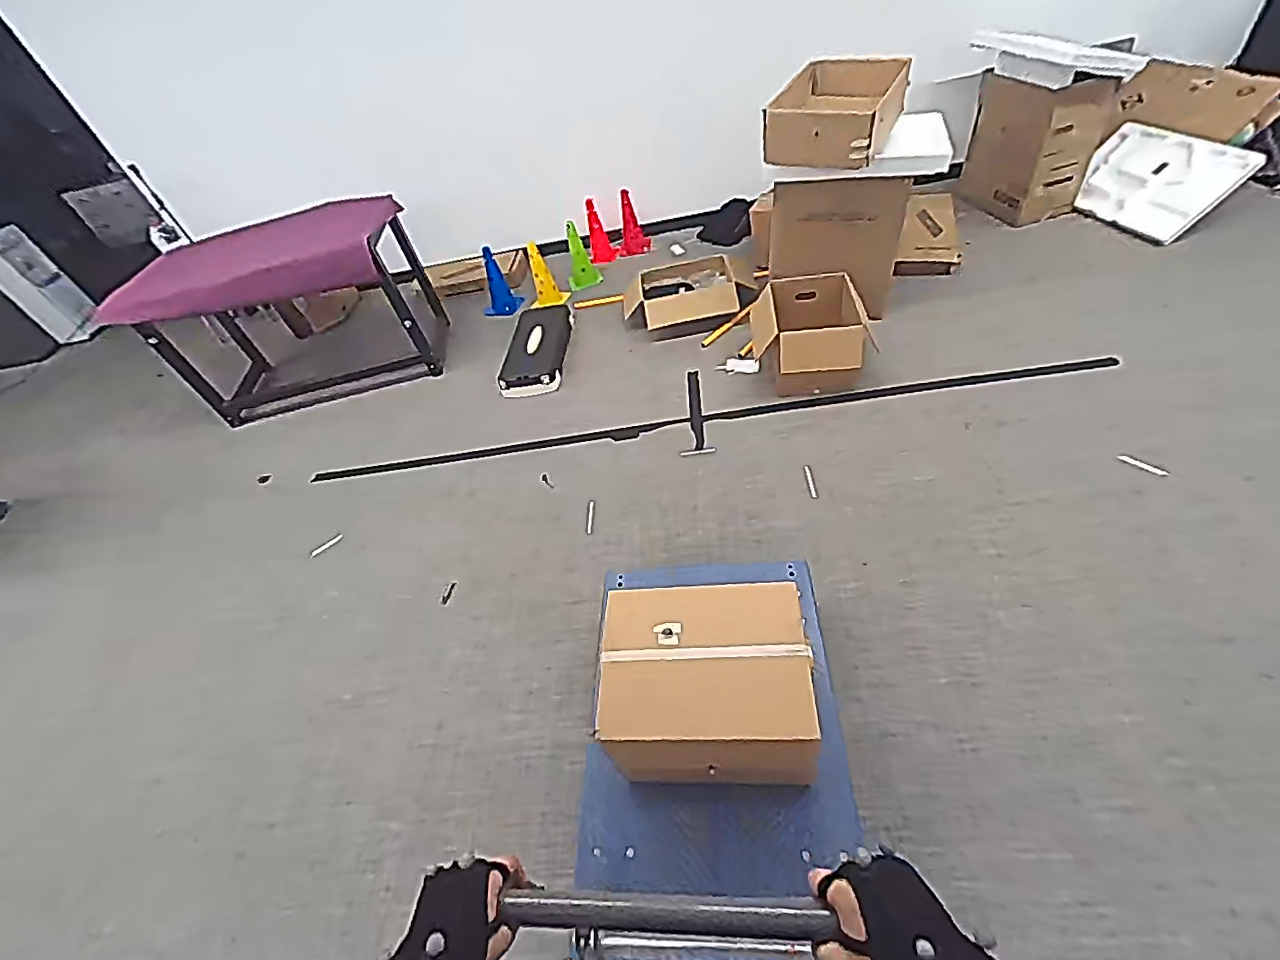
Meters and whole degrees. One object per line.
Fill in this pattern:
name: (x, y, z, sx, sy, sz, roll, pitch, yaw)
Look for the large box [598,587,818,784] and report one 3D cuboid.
large box: (0.151, 0.458, 1.182, 0.408, 0.320, 0.320, -6, 46, 10)
